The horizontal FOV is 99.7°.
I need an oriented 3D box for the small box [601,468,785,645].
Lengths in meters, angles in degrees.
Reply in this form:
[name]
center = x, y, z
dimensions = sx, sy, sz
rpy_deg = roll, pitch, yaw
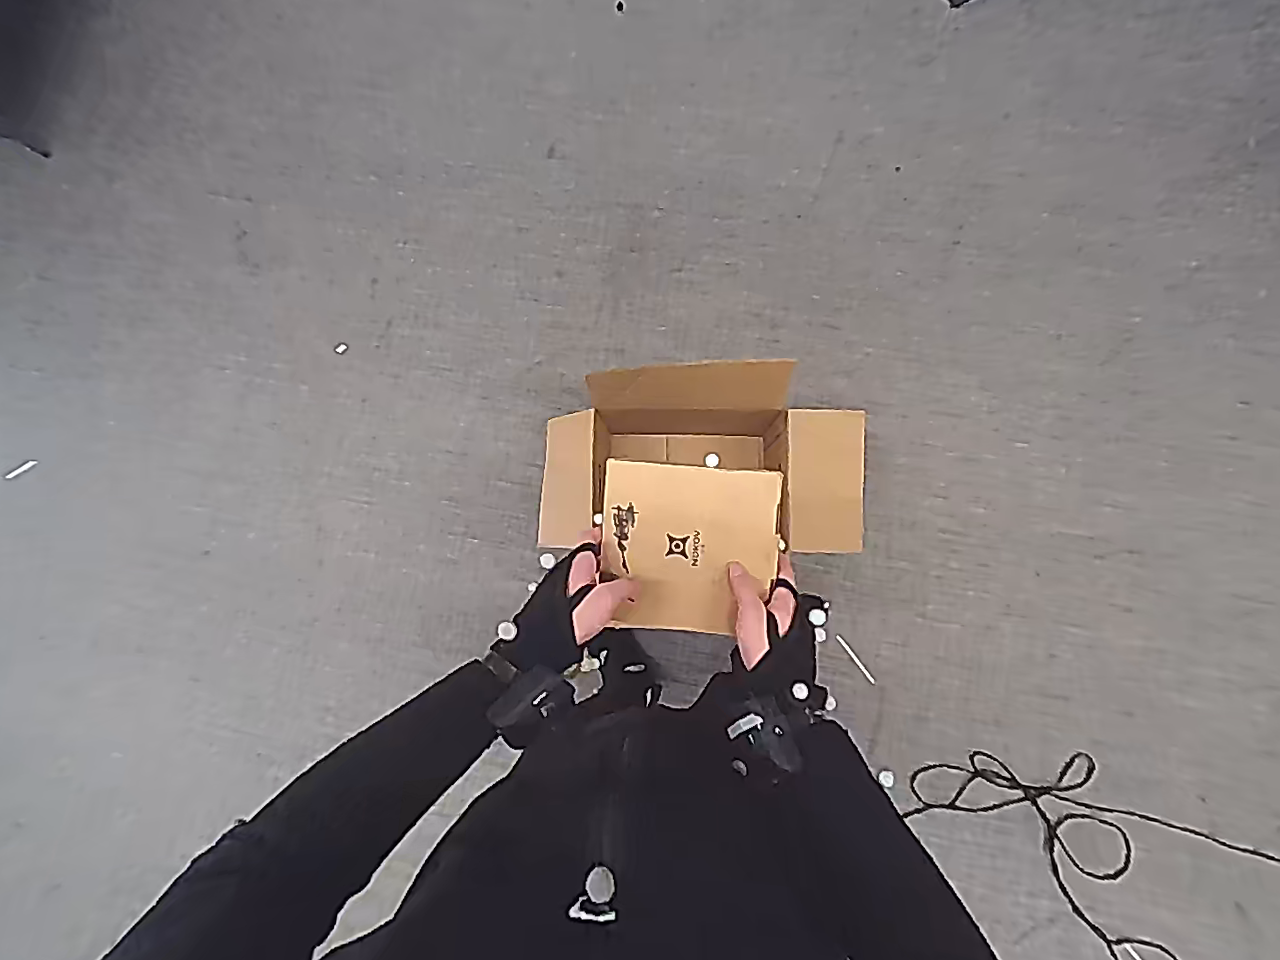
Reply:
[small box]
center = 0.063, 0.074, 0.623
dimensions = 0.179, 0.176, 0.168
rpy_deg = 5, 91, 9
